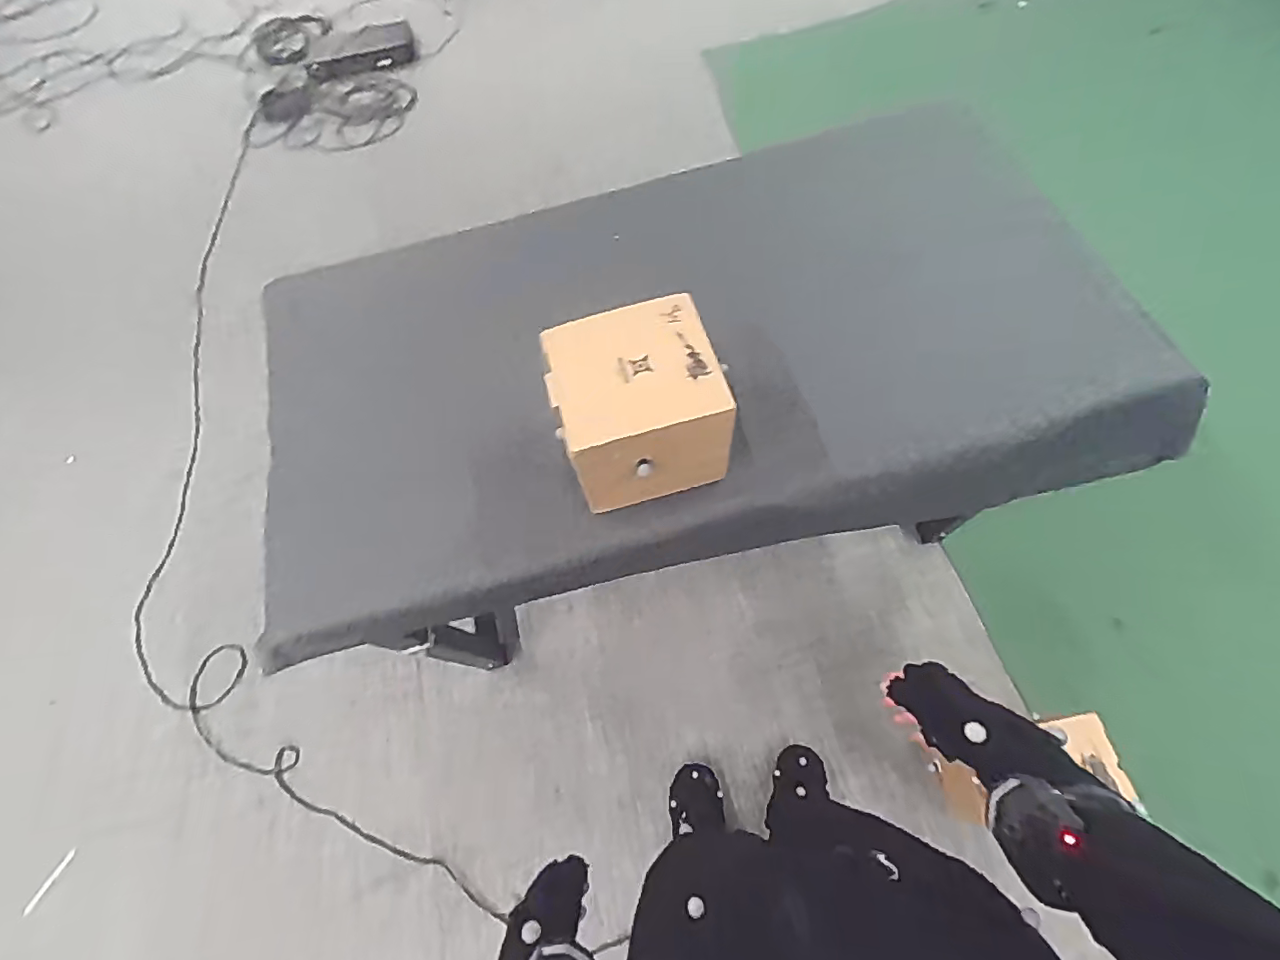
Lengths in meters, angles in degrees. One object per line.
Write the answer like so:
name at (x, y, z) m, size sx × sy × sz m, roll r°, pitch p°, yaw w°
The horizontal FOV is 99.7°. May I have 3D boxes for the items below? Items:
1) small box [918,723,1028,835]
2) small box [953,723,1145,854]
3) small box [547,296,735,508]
small box at (0.700, 0.591, 1.089) m, size 0.179 × 0.176 × 0.168 m, roll -12°, pitch 64°, yaw 1°
small box at (0.691, 0.523, 0.939) m, size 0.179 × 0.176 × 0.168 m, roll -11°, pitch 65°, yaw 1°
small box at (0.004, -0.083, 0.648) m, size 0.179 × 0.176 × 0.168 m, roll -15°, pitch 65°, yaw -1°
